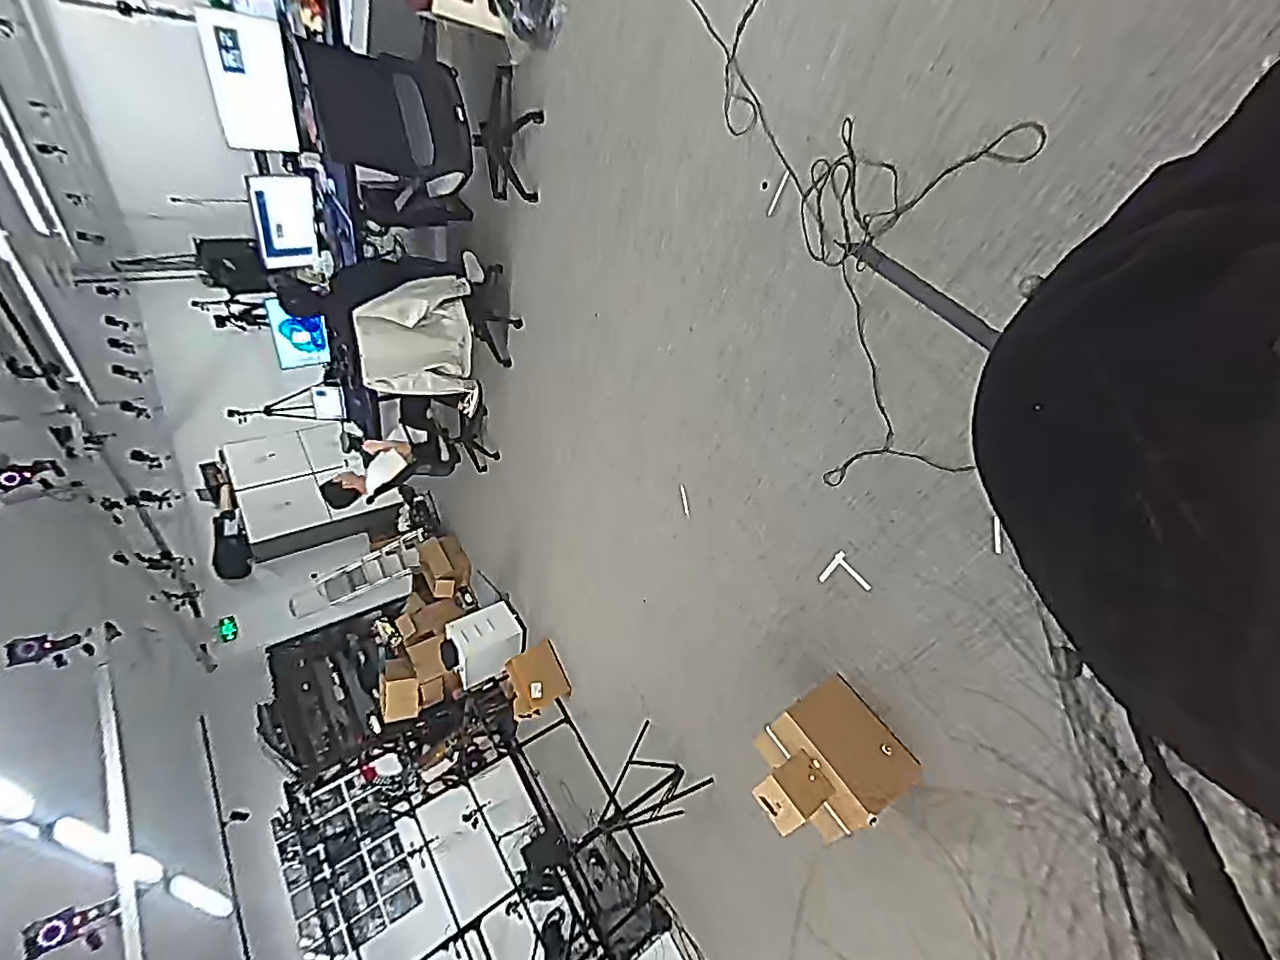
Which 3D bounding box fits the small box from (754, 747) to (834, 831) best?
[{"bbox_3d":[0.532,1.059,1.858,0.168,0.176,0.179,49,140,29],"label":"small box"}]
